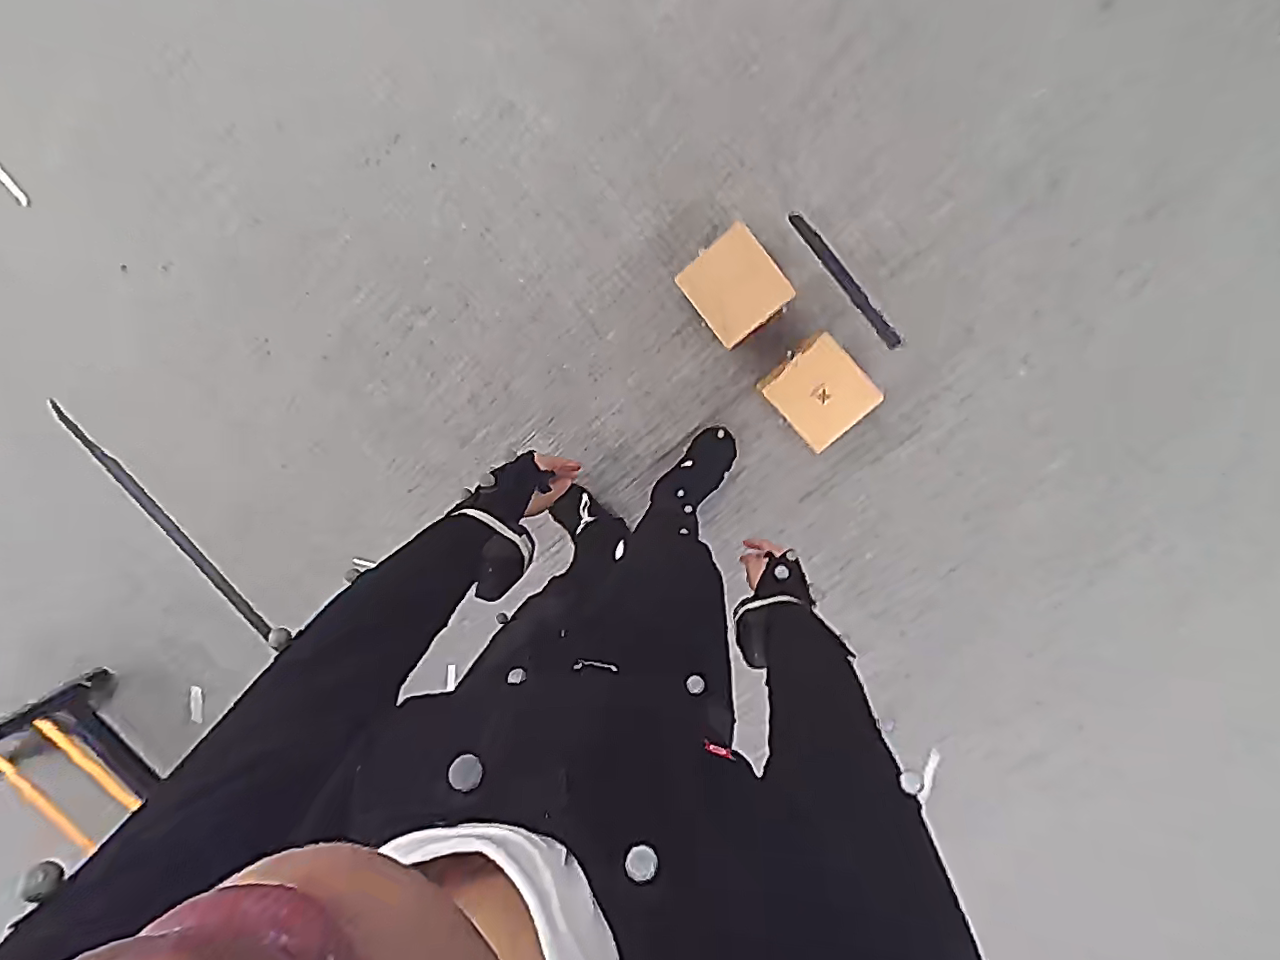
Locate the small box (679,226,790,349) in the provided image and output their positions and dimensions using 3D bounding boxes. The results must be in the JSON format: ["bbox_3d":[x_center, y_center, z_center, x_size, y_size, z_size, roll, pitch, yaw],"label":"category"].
[{"bbox_3d":[0.193,-0.389,1.120,0.168,0.176,0.179,-37,96,15],"label":"small box"}]

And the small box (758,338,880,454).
[{"bbox_3d":[0.369,-0.185,1.148,0.168,0.176,0.179,-42,93,16],"label":"small box"}]
